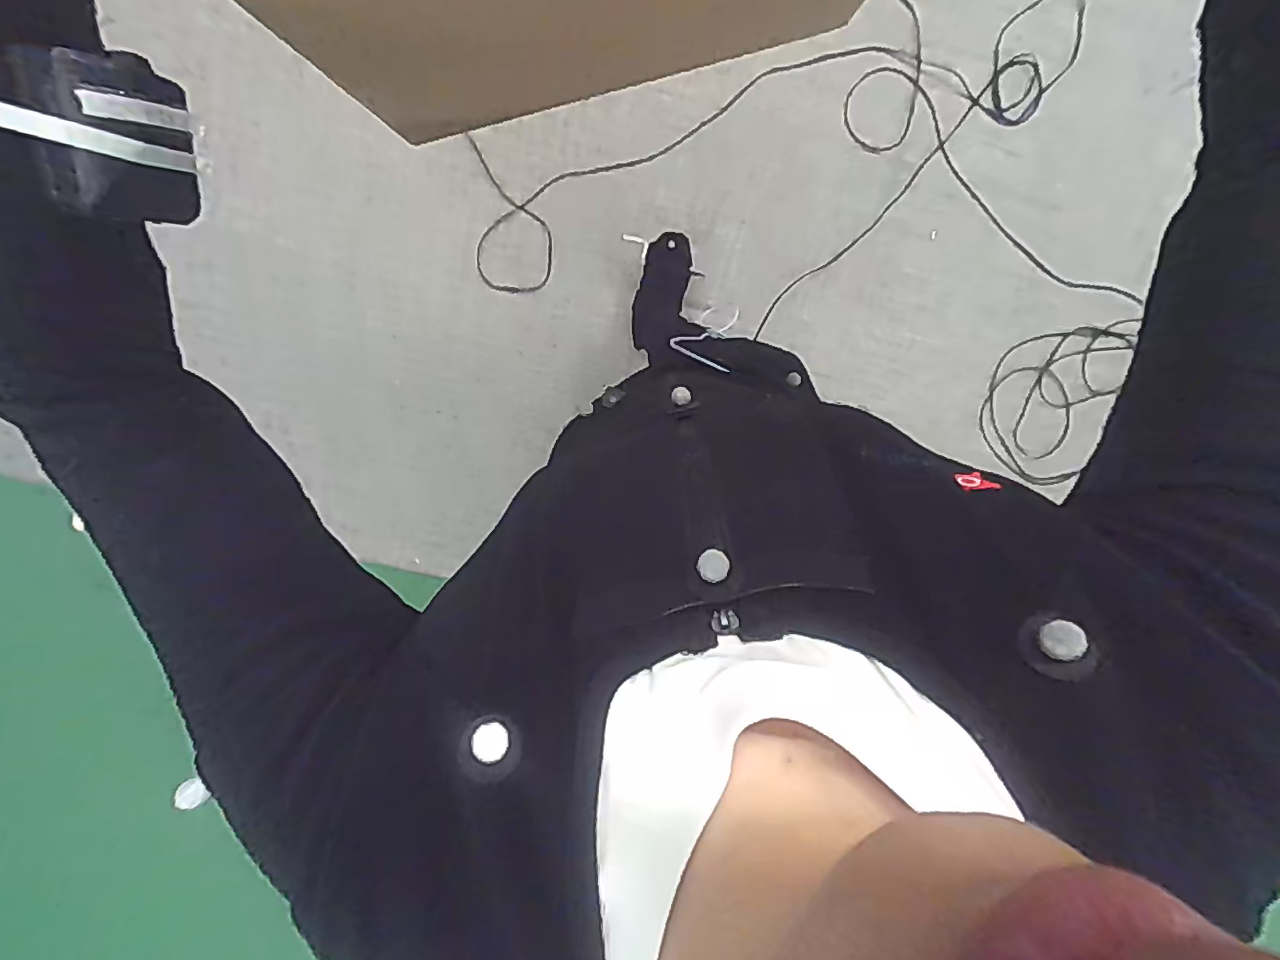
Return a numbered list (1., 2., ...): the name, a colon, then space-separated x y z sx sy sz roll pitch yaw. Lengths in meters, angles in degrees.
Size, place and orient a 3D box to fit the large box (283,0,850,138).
1. large box: -0.043 -0.459 0.304 0.408 0.320 0.320 -14 107 1
